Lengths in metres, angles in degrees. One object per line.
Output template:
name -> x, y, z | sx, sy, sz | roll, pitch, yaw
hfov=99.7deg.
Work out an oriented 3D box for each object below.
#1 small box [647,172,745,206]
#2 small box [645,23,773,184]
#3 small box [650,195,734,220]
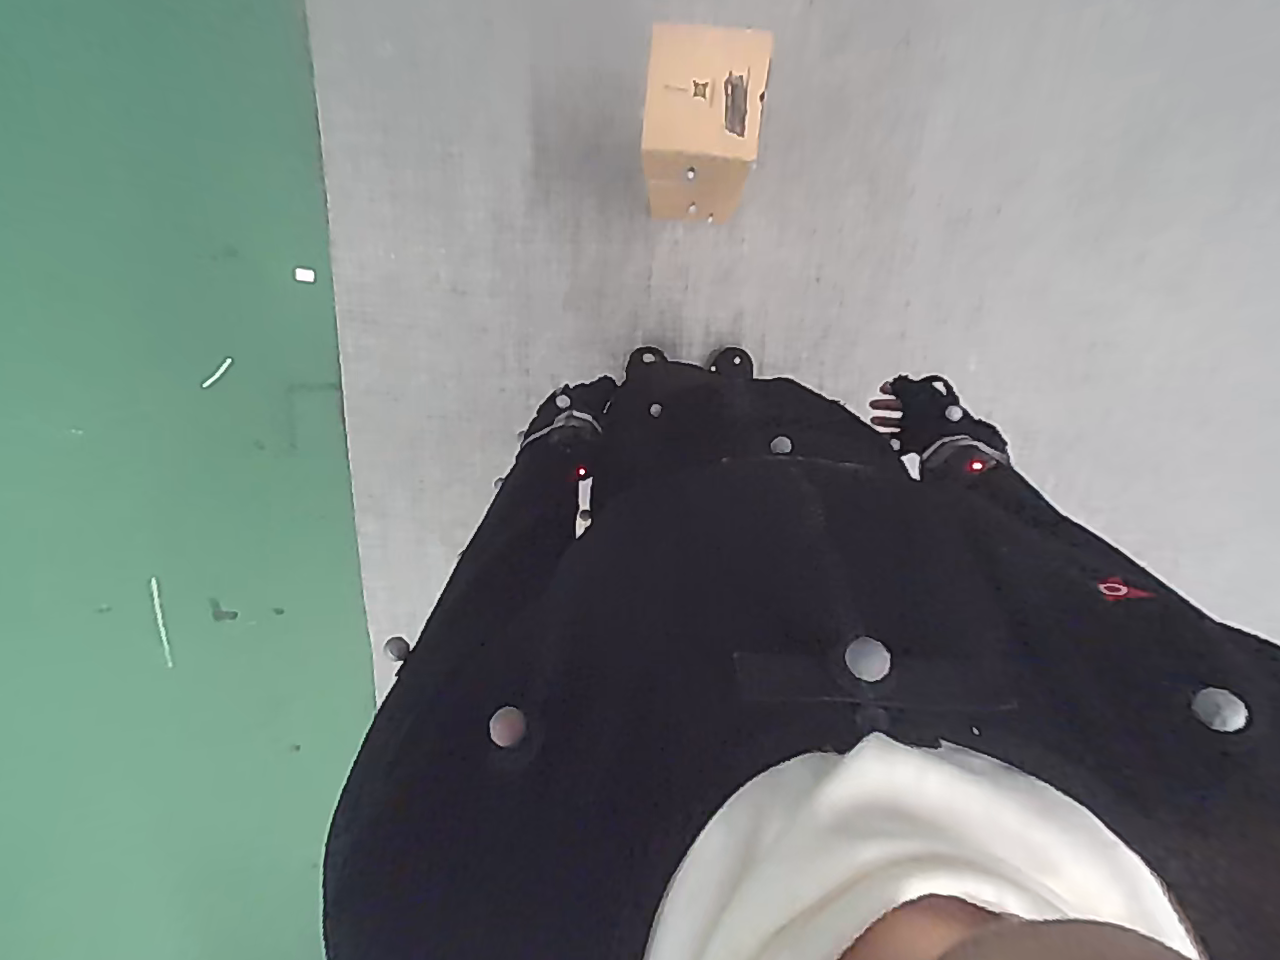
small box -> 0.110, -0.631, 1.026 | 0.179, 0.176, 0.168 | 6, 105, 2
small box -> 0.101, -0.589, 0.867 | 0.179, 0.176, 0.168 | 4, 105, 2
small box -> 0.117, -0.677, 1.183 | 0.179, 0.176, 0.168 | 4, 105, 4
